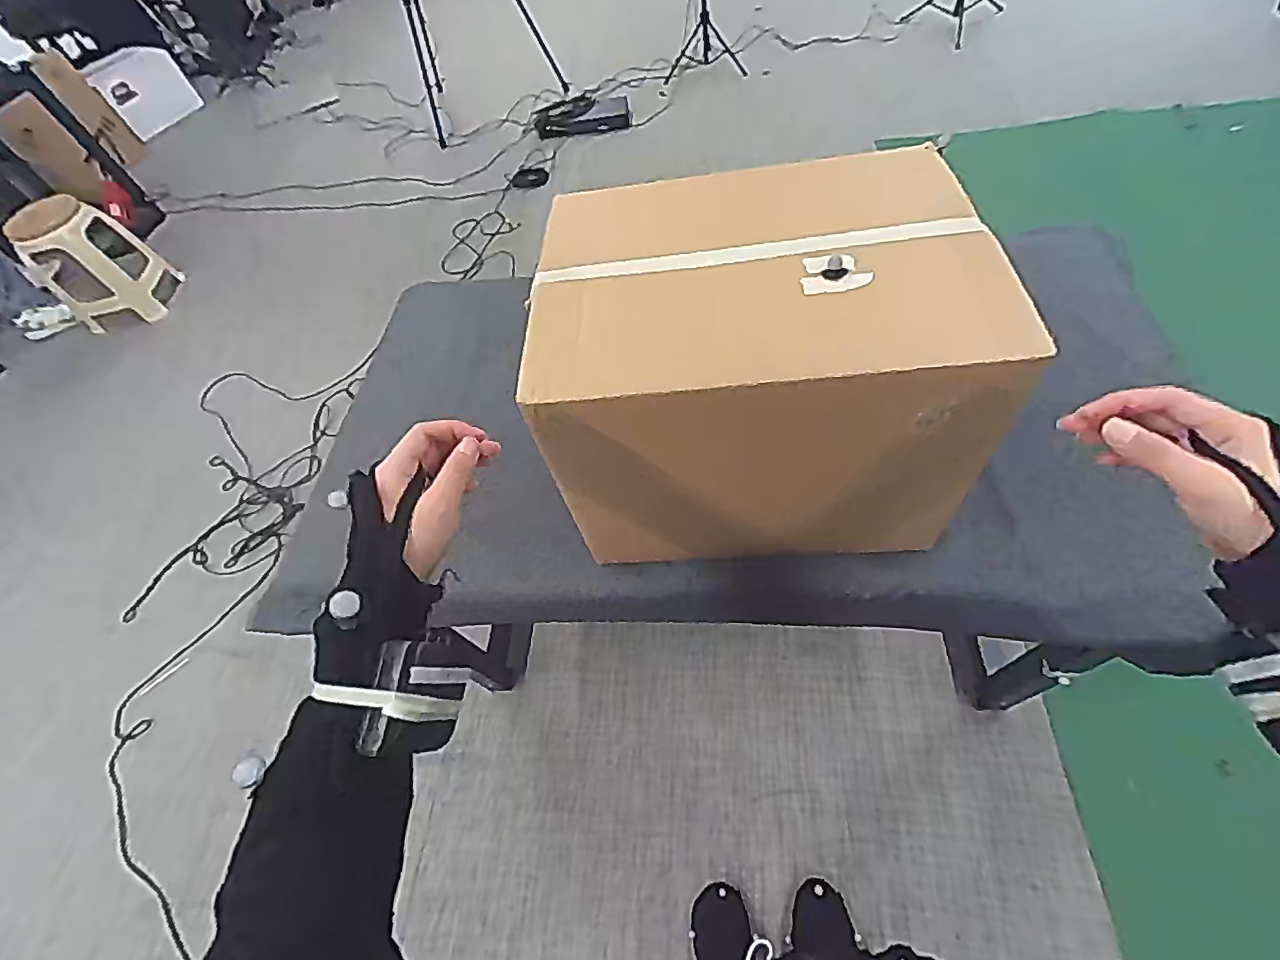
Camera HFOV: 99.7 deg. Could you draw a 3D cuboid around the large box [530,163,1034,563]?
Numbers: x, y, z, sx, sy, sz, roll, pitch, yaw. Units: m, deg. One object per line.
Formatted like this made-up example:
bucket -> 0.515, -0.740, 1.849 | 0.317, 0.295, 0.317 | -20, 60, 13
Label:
large box -> 0.121, -0.115, 0.632 | 0.408, 0.320, 0.320 | -4, 56, 7
